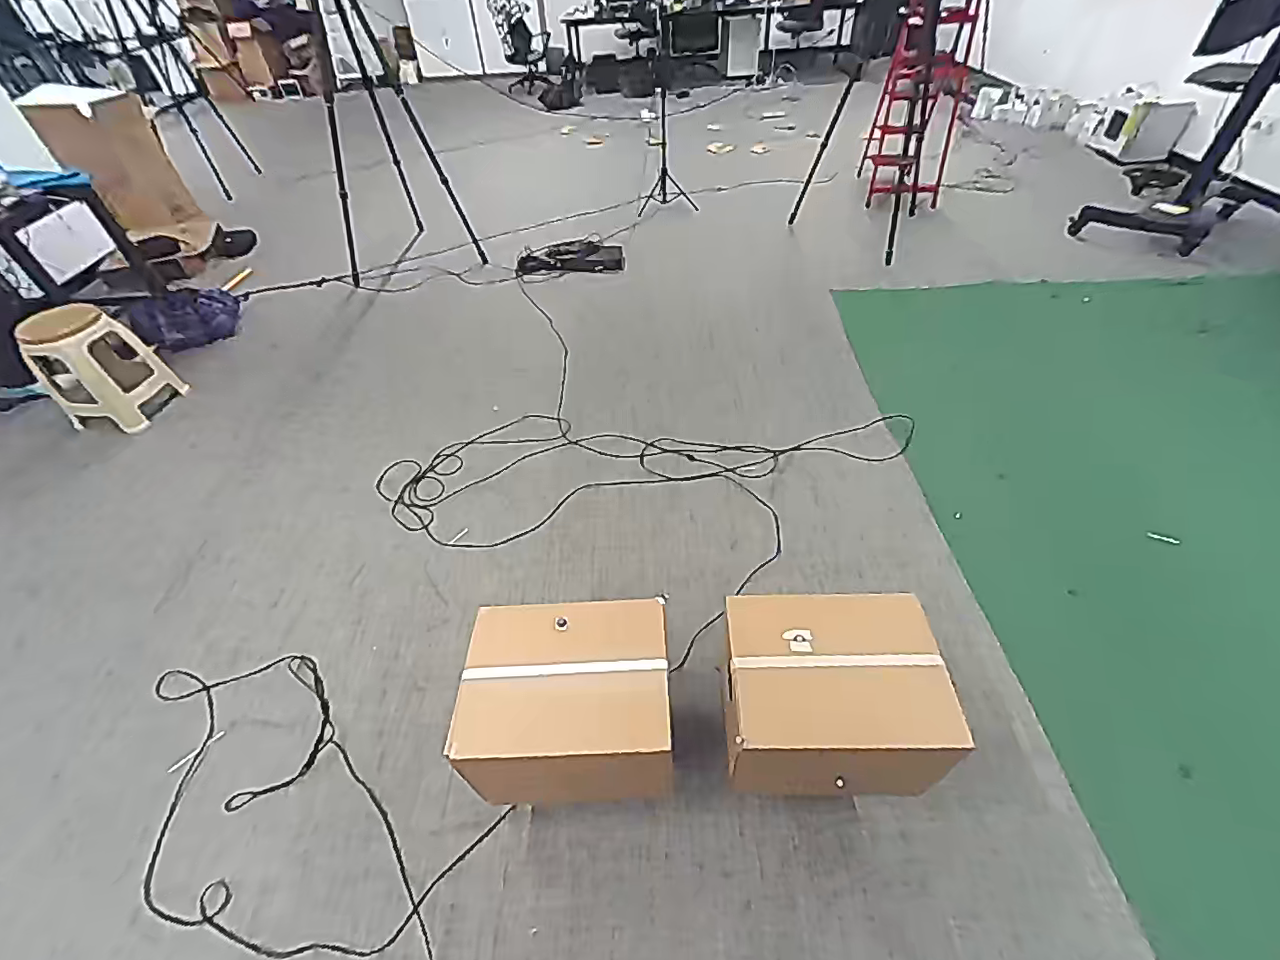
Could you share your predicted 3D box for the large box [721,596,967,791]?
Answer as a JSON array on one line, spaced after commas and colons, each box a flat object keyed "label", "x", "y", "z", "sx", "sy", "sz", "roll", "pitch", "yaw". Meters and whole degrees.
[{"label": "large box", "x": 0.395, "y": 0.467, "z": 1.172, "sx": 0.408, "sy": 0.320, "sz": 0.320, "roll": -1, "pitch": 46, "yaw": 3}]
